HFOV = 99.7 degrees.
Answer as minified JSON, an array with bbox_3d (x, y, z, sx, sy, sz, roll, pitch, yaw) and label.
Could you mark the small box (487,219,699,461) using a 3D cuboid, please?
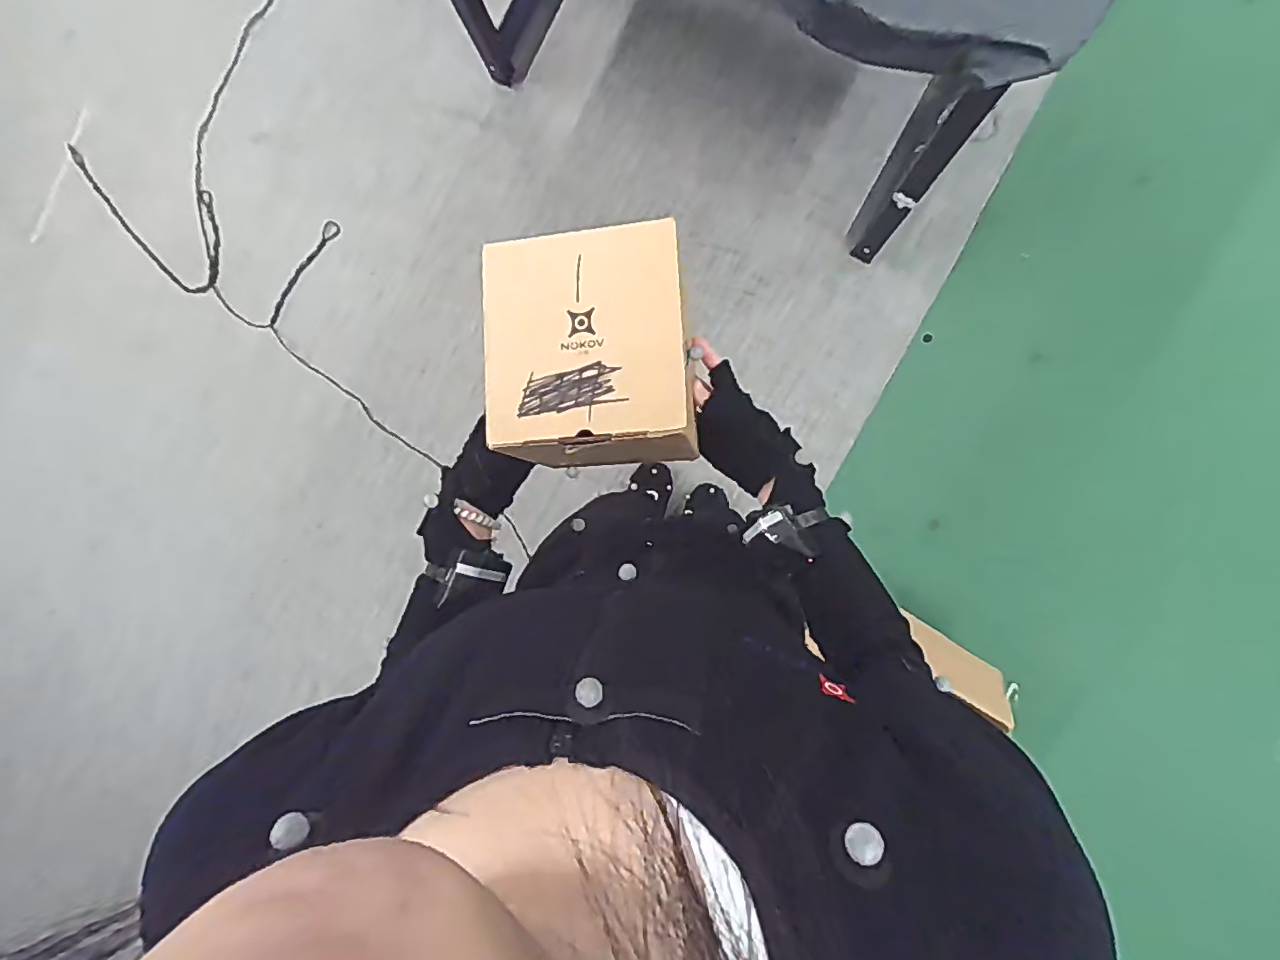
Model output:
[{"bbox_3d":[-0.033,-0.113,0.515,0.168,0.176,0.179,-3,84,8],"label":"small box"}]
